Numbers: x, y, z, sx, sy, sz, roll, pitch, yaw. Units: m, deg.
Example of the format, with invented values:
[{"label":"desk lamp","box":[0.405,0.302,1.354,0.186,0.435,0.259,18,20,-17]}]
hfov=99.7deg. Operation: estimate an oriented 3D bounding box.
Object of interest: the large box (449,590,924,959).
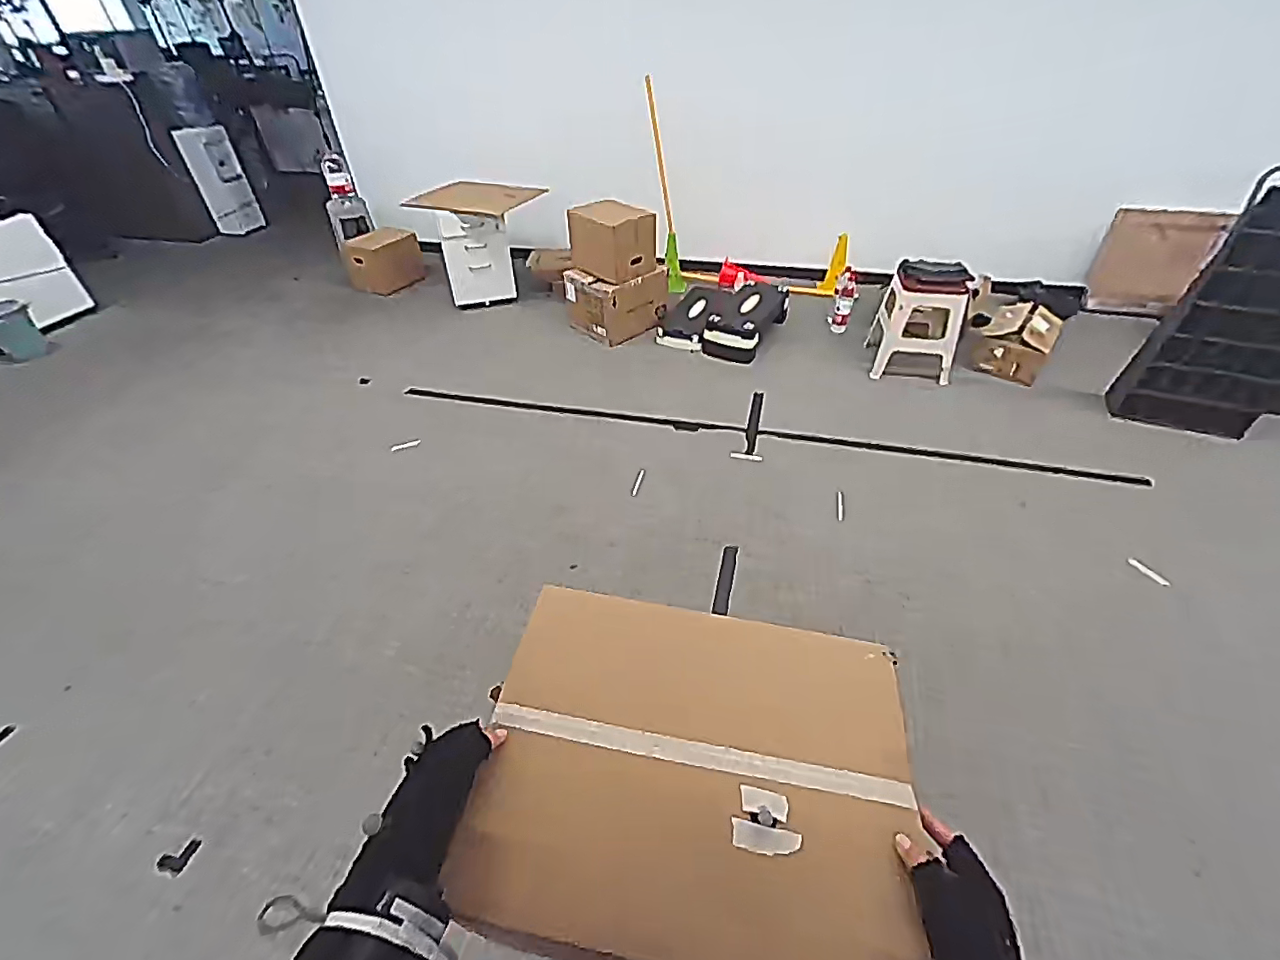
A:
[{"label":"large box","box":[0.049,0.372,0.648,0.408,0.320,0.320,9,46,6]}]
